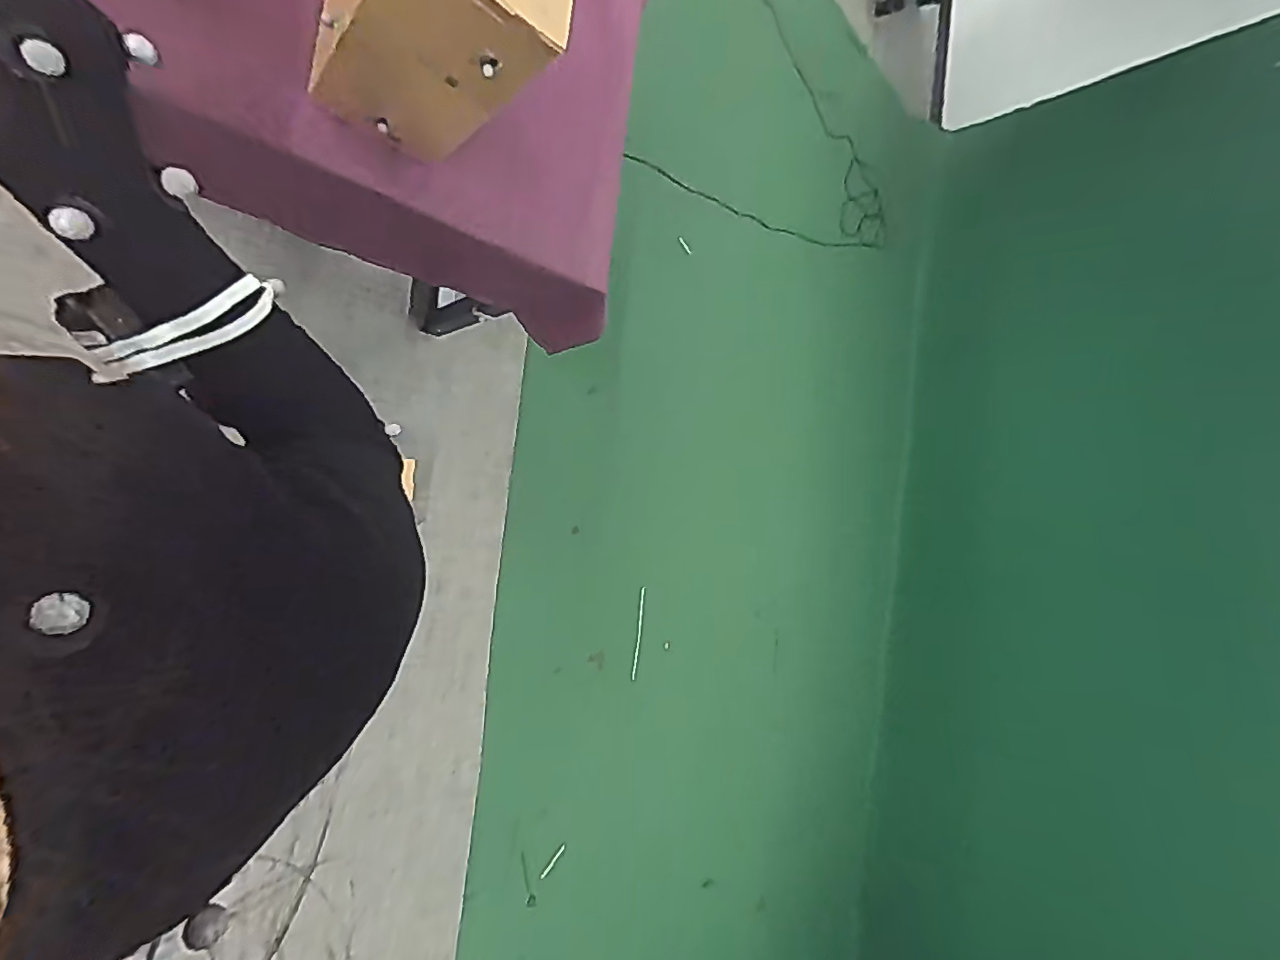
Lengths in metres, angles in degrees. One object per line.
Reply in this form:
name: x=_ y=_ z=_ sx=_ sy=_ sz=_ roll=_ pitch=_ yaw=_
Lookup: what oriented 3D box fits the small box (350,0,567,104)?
small box: x=-0.185 y=-0.543 z=0.560 sx=0.168 sy=0.176 sz=0.179 roll=8 pitch=88 yaw=-44
